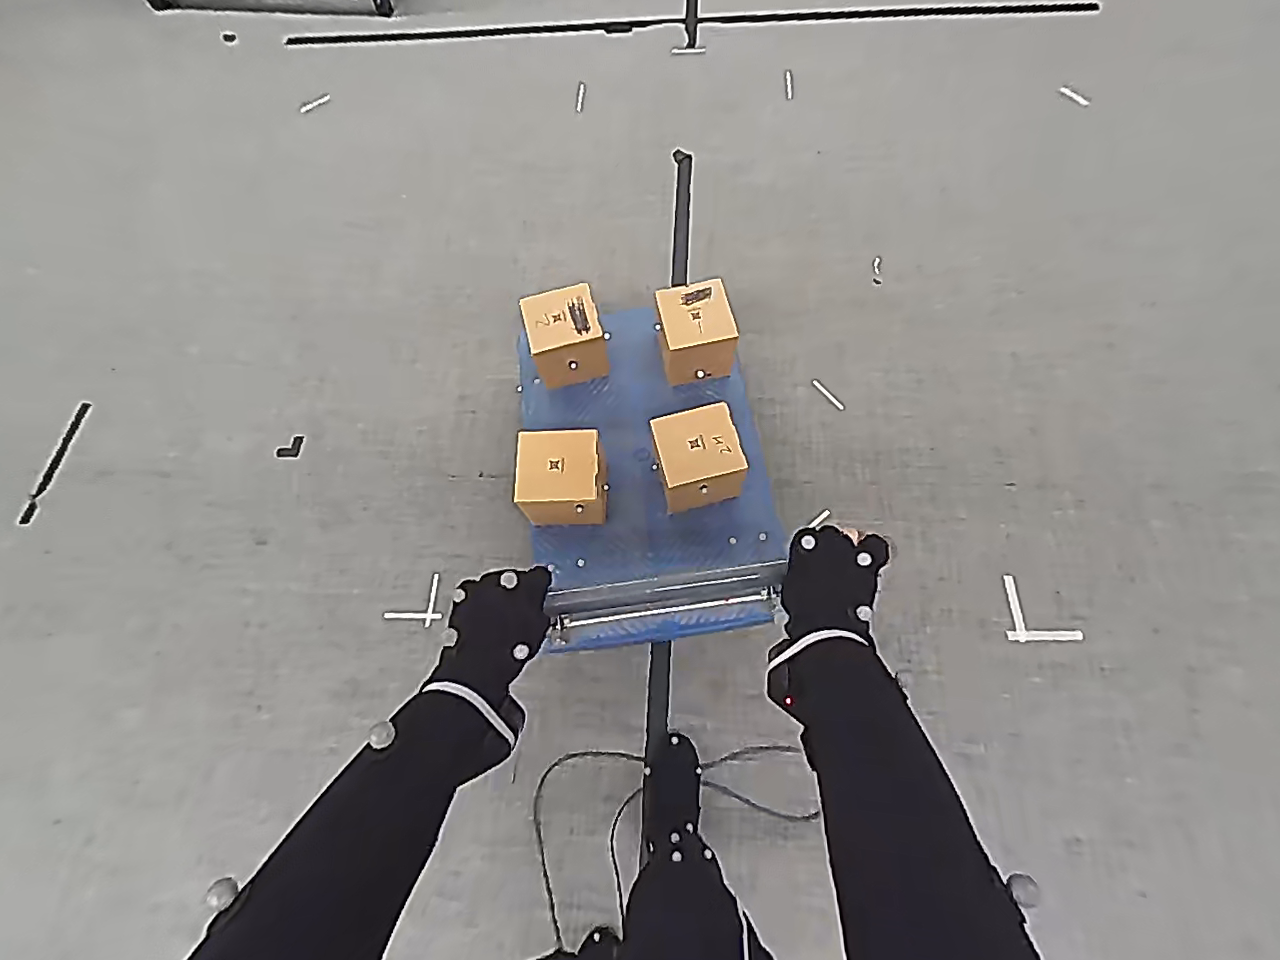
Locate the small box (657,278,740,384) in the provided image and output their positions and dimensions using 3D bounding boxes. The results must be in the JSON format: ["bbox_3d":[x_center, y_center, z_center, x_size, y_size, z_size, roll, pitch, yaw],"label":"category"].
[{"bbox_3d":[0.137,-0.363,1.337,0.168,0.176,0.179,-11,70,-1],"label":"small box"}]

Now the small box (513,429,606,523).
[{"bbox_3d":[-0.174,-0.004,1.220,0.179,0.176,0.168,-1,69,1],"label":"small box"}]

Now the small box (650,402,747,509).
[{"bbox_3d":[0.127,-0.048,1.217,0.179,0.176,0.168,-13,69,-1],"label":"small box"}]
